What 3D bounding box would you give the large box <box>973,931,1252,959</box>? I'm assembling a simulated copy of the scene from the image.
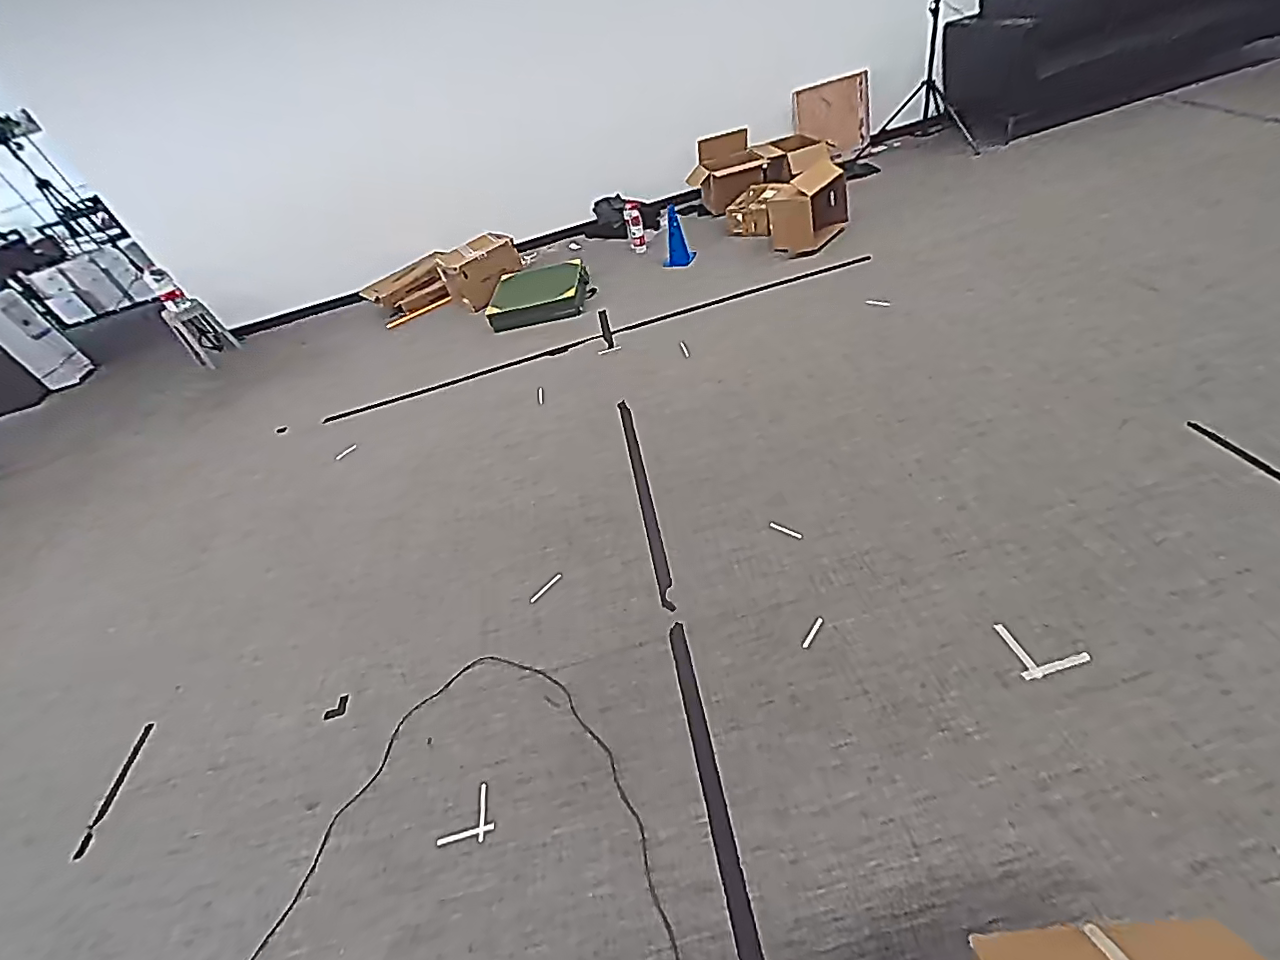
[{"bbox_3d":[0.599,0.738,0.510,0.320,0.408,0.320,-12,81,8],"label":"large box"}]
